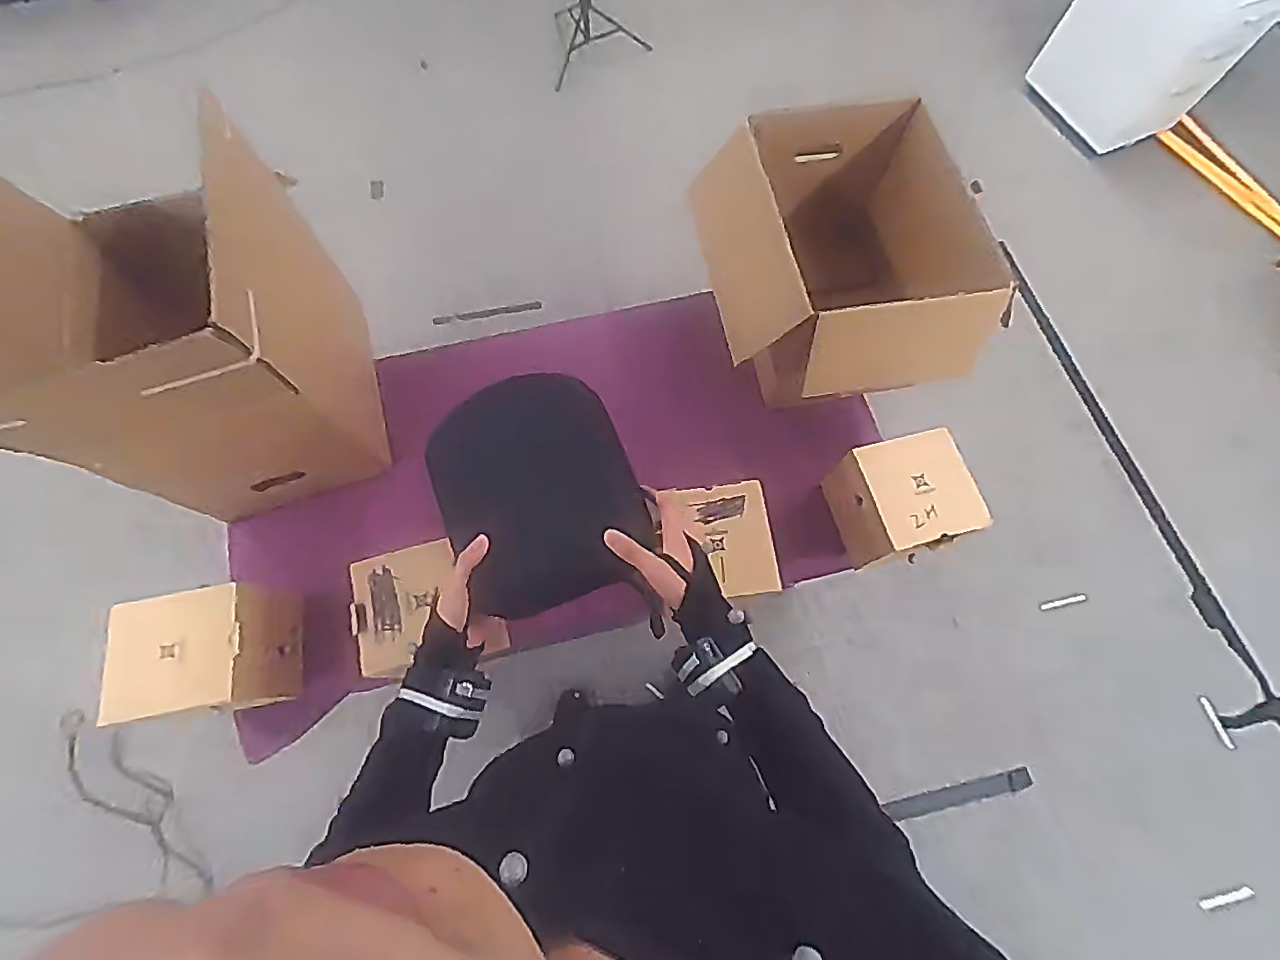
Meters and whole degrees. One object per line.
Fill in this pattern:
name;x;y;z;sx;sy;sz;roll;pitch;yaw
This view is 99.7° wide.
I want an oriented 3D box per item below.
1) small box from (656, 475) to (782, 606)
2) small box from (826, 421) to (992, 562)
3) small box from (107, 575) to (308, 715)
small box;0.118;0.106;0.894;0.168;0.176;0.179;-7;73;-2
small box;0.440;0.026;0.922;0.168;0.176;0.179;-13;72;-4
small box;-0.649;0.257;0.836;0.179;0.176;0.168;-11;71;-5
